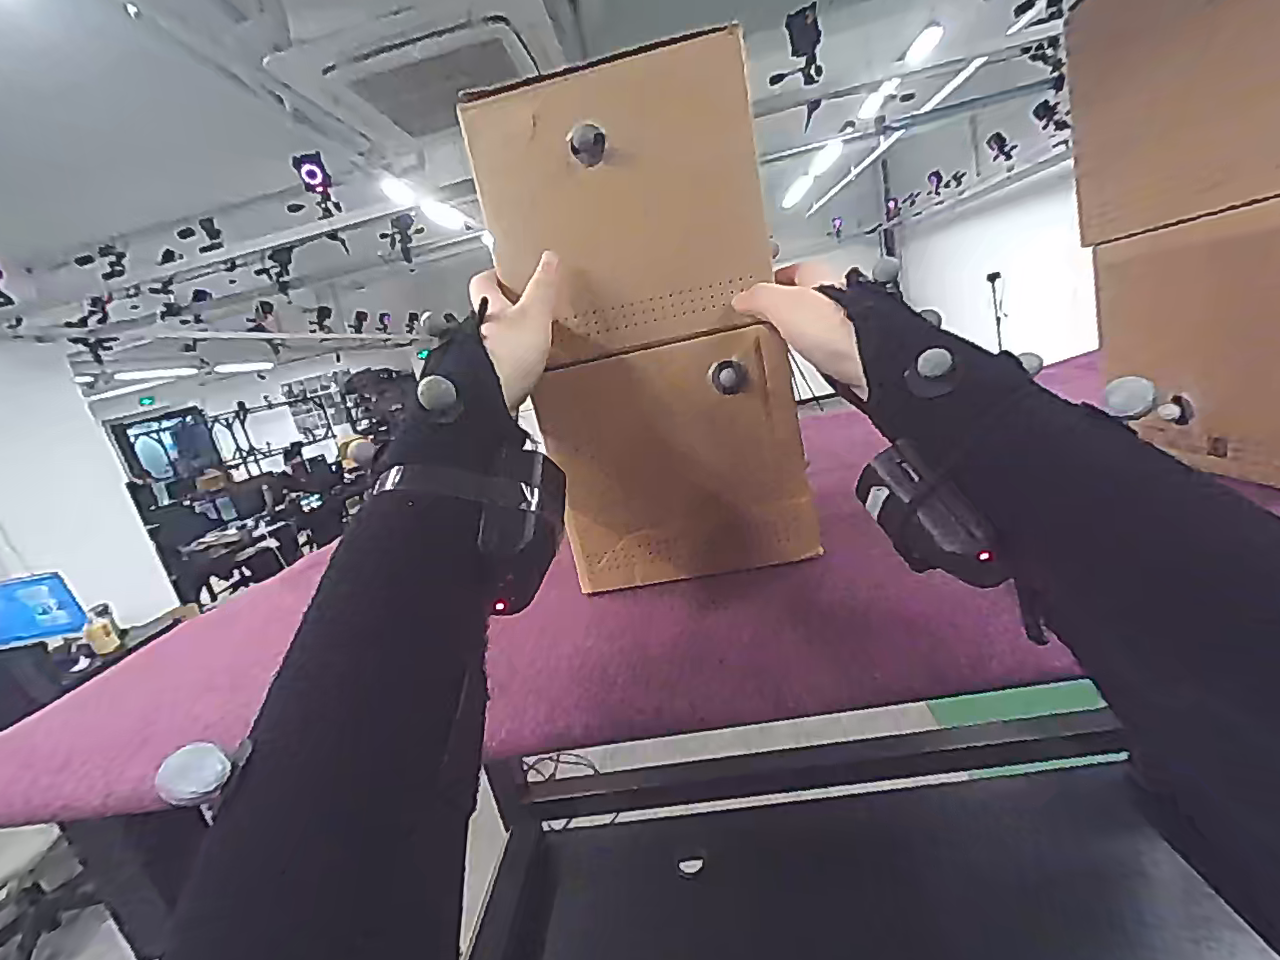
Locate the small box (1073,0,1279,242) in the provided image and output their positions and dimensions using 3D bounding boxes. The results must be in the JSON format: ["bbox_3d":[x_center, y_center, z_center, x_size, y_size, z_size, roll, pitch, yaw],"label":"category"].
[{"bbox_3d":[0.401,-0.258,0.314,0.168,0.176,0.179,-12,12,9],"label":"small box"}]

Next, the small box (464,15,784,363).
[{"bbox_3d":[0.000,-0.187,0.409,0.179,0.176,0.168,-9,13,8],"label":"small box"}]

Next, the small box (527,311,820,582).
[{"bbox_3d":[0.033,-0.029,0.441,0.179,0.176,0.168,-10,13,8],"label":"small box"}]
